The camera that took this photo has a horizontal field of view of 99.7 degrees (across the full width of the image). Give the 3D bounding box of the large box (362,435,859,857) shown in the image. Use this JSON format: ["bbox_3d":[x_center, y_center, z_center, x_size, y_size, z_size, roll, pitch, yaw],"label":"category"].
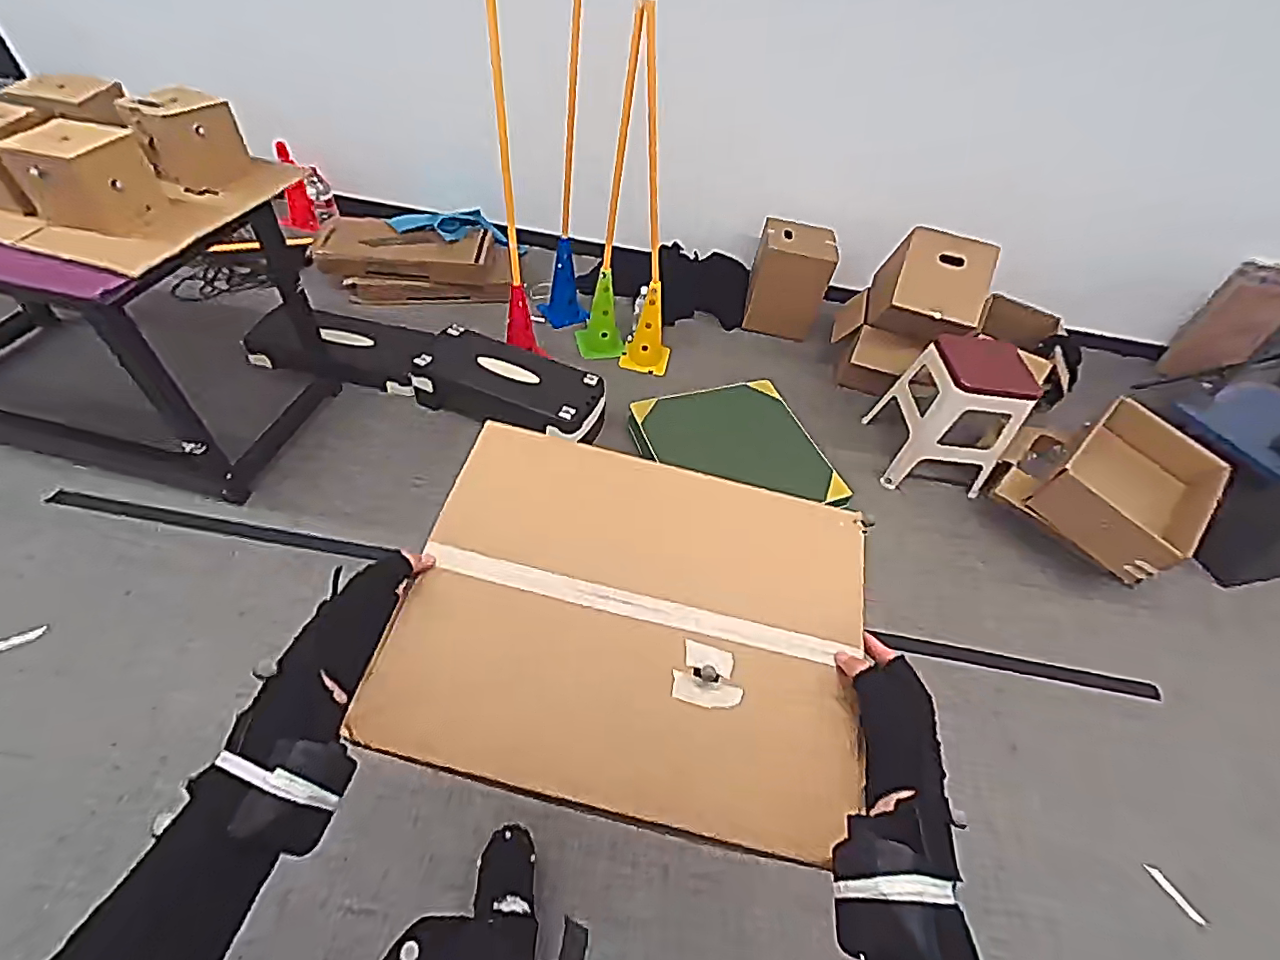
[{"bbox_3d":[-0.015,0.197,0.619,0.408,0.320,0.320,14,59,0],"label":"large box"}]
